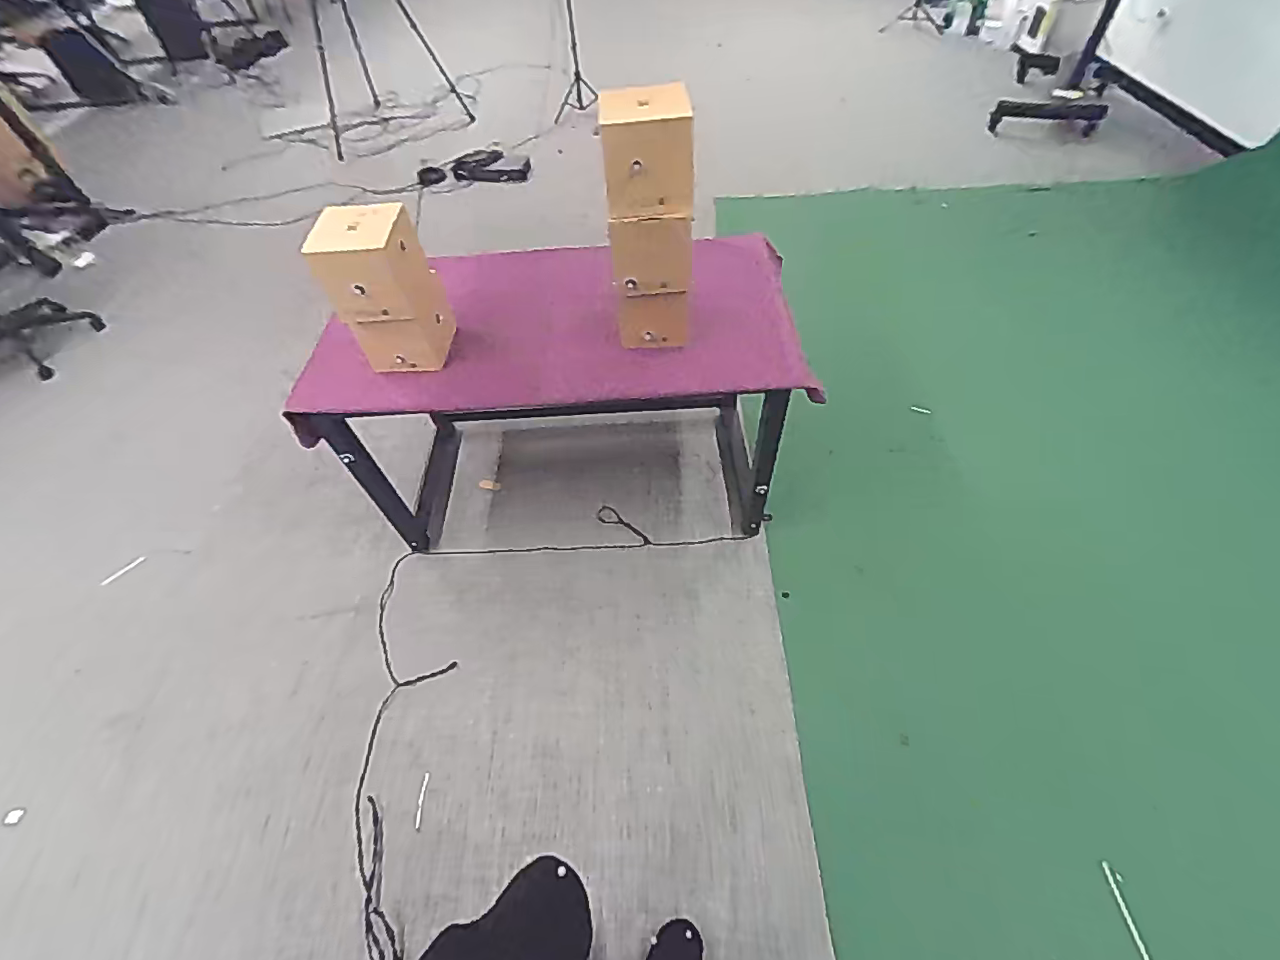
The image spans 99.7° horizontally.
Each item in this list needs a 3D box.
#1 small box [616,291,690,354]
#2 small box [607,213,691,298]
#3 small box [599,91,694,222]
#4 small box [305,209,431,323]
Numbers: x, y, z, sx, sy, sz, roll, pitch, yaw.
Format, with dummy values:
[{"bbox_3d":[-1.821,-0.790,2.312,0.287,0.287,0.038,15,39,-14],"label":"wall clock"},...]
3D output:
[{"bbox_3d":[0.036,-0.424,1.307,0.168,0.176,0.179,-2,52,4],"label":"small box"},{"bbox_3d":[0.024,-0.509,1.165,0.168,0.176,0.179,-3,51,3],"label":"small box"},{"bbox_3d":[0.014,-0.616,1.044,0.168,0.176,0.179,-5,51,2],"label":"small box"},{"bbox_3d":[-0.568,-0.451,1.158,0.168,0.176,0.179,-2,53,1],"label":"small box"}]
